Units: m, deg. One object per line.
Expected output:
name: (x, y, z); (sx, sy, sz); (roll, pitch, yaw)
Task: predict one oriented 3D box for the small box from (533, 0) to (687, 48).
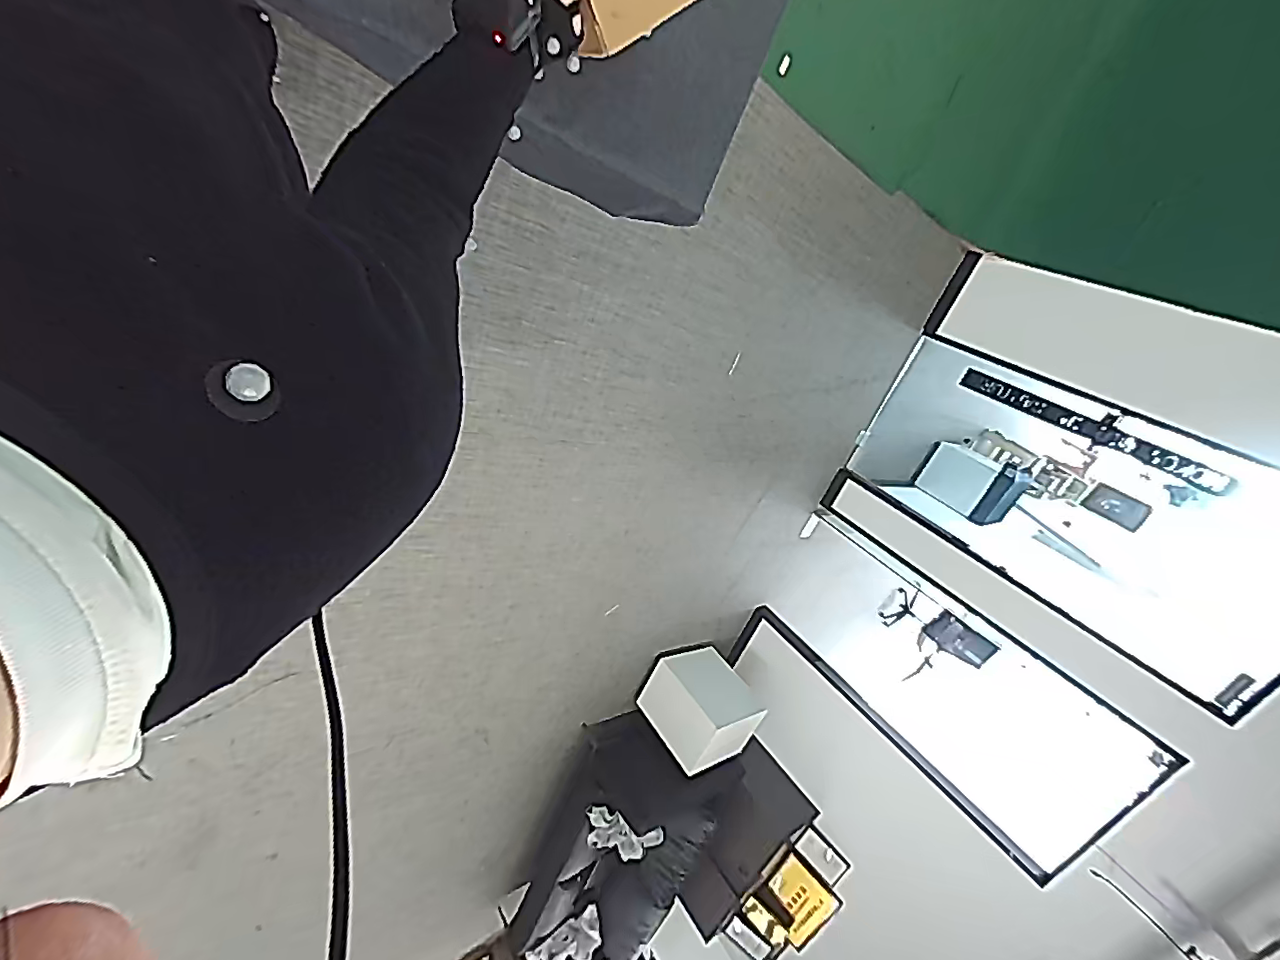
small box: (-0.038, -0.617, 0.598); (0.179, 0.176, 0.168); (-39, 141, -7)
